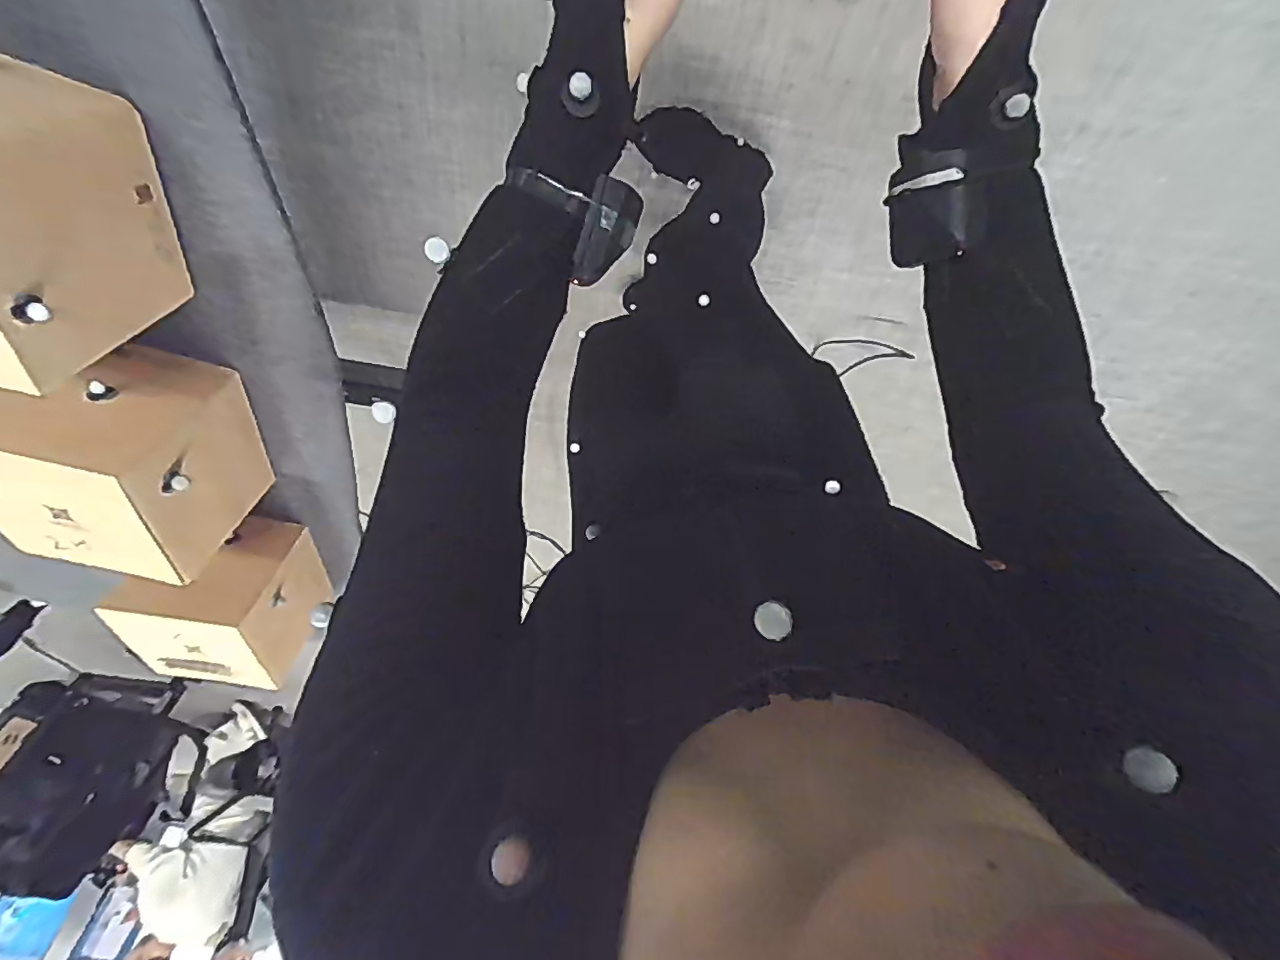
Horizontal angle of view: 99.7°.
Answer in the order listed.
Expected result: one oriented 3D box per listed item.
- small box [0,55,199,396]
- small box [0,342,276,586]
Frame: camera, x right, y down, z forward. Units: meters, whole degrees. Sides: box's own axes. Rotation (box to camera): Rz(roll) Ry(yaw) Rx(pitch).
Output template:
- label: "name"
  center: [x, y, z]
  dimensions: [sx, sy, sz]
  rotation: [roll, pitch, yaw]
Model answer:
- label: "small box"
  center: [-0.484, -0.196, 0.393]
  dimensions: [0.179, 0.176, 0.168]
  rotation: [18, 134, -7]
- label: "small box"
  center: [-0.527, -0.020, 0.568]
  dimensions: [0.168, 0.176, 0.179]
  rotation: [15, 135, -5]
